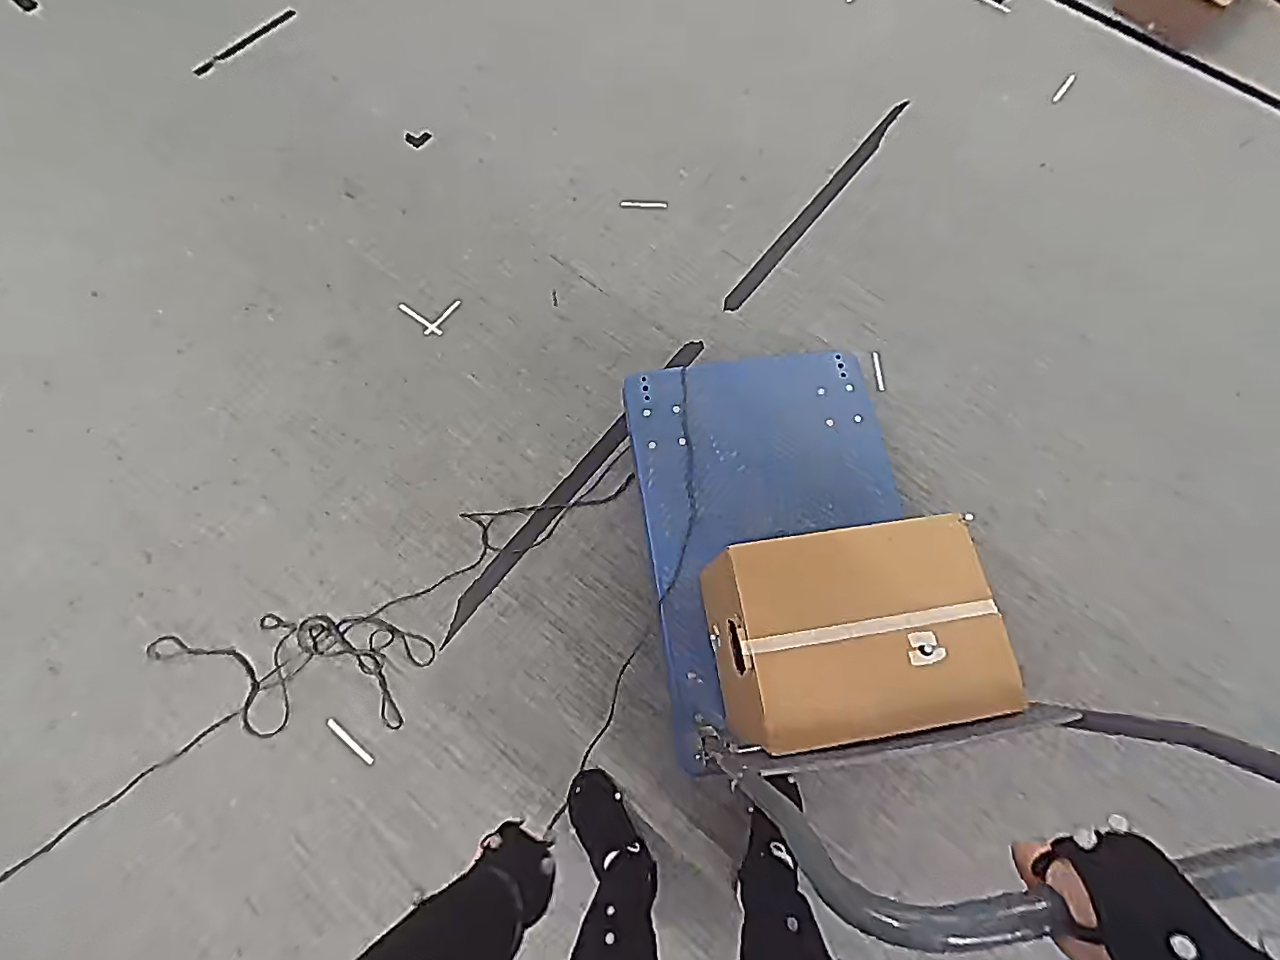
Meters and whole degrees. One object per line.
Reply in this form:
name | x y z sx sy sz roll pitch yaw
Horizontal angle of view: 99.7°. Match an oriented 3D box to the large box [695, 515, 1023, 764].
large box | 0.343 0.278 0.970 0.408 0.320 0.320 -8 73 -6
